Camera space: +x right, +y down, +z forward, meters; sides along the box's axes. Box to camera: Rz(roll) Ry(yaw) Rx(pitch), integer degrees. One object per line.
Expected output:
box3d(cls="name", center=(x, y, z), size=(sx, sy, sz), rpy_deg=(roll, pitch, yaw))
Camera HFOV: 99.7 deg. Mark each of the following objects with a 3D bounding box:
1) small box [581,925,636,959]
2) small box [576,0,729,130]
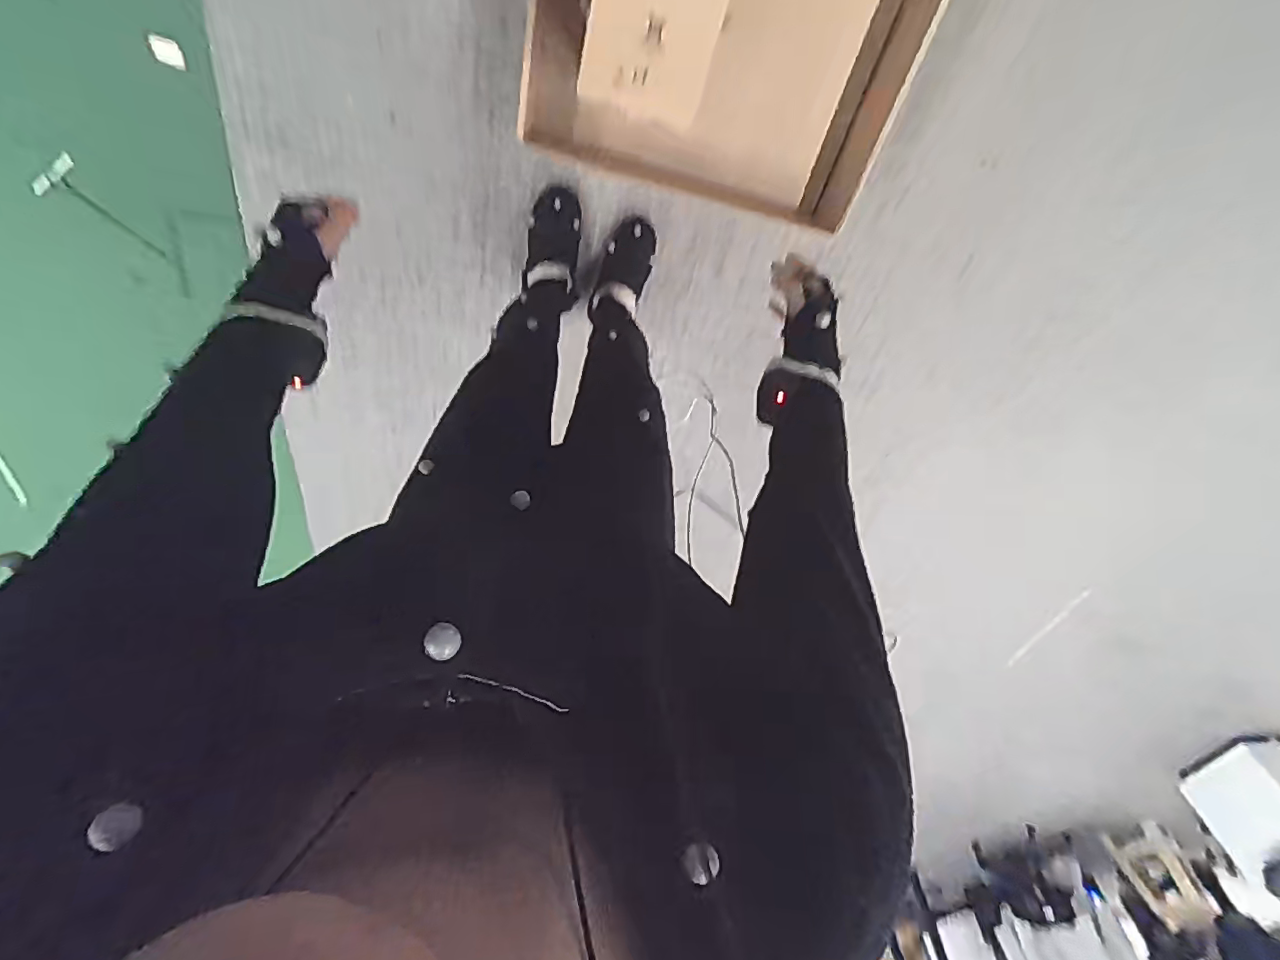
box3d(cls="small box", center=(-0.113, 1.729, 1.947), size=(0.179, 0.176, 0.168), rpy_deg=(11, 127, -10))
box3d(cls="small box", center=(0.013, -0.622, 0.750), size=(0.168, 0.176, 0.179), rpy_deg=(13, 128, -12))
